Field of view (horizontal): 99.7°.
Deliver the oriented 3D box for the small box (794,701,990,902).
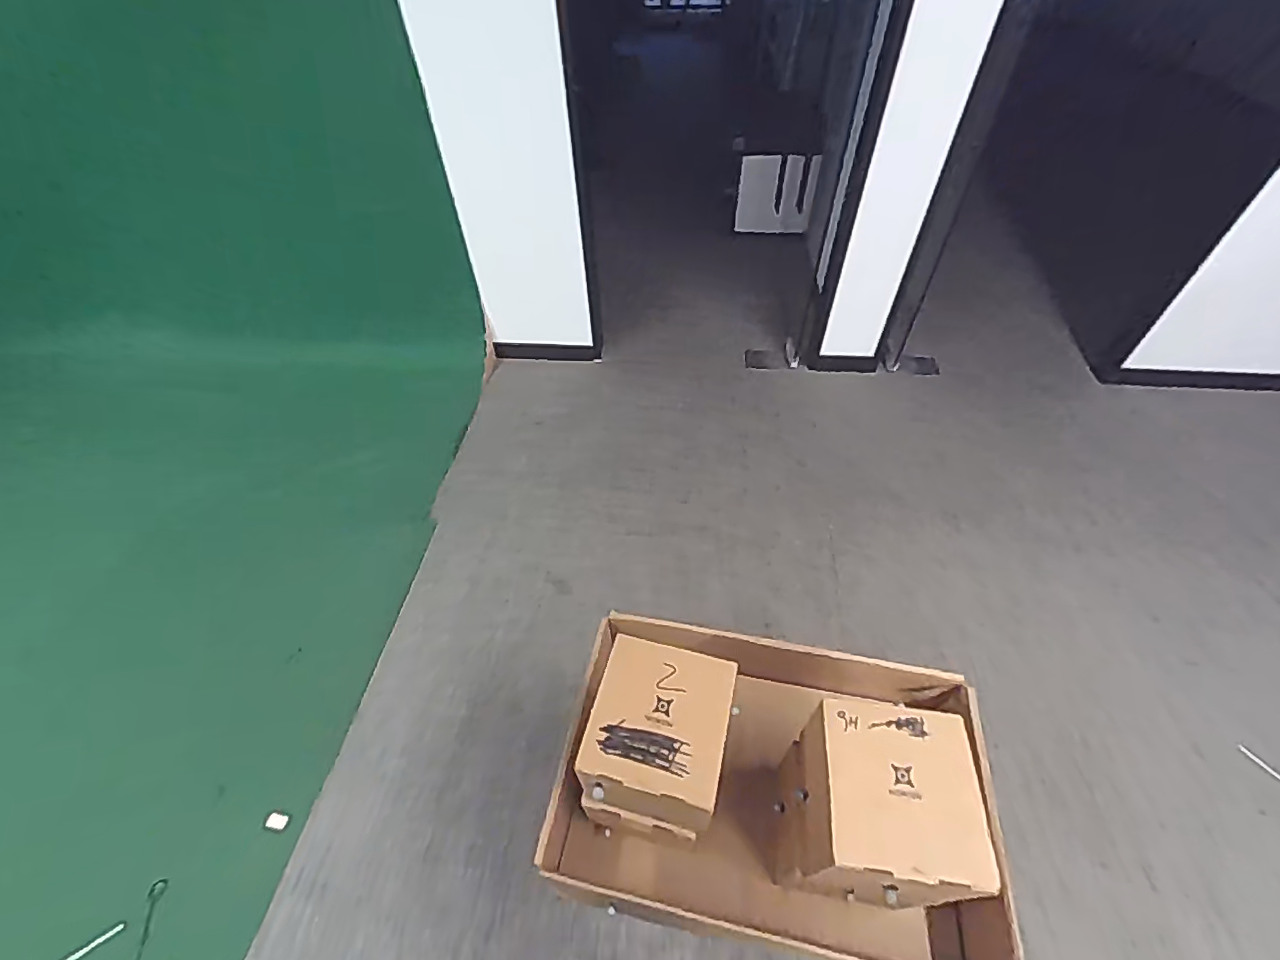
[{"bbox_3d":[0.291,0.400,0.669,0.168,0.176,0.179,7,51,7],"label":"small box"}]
